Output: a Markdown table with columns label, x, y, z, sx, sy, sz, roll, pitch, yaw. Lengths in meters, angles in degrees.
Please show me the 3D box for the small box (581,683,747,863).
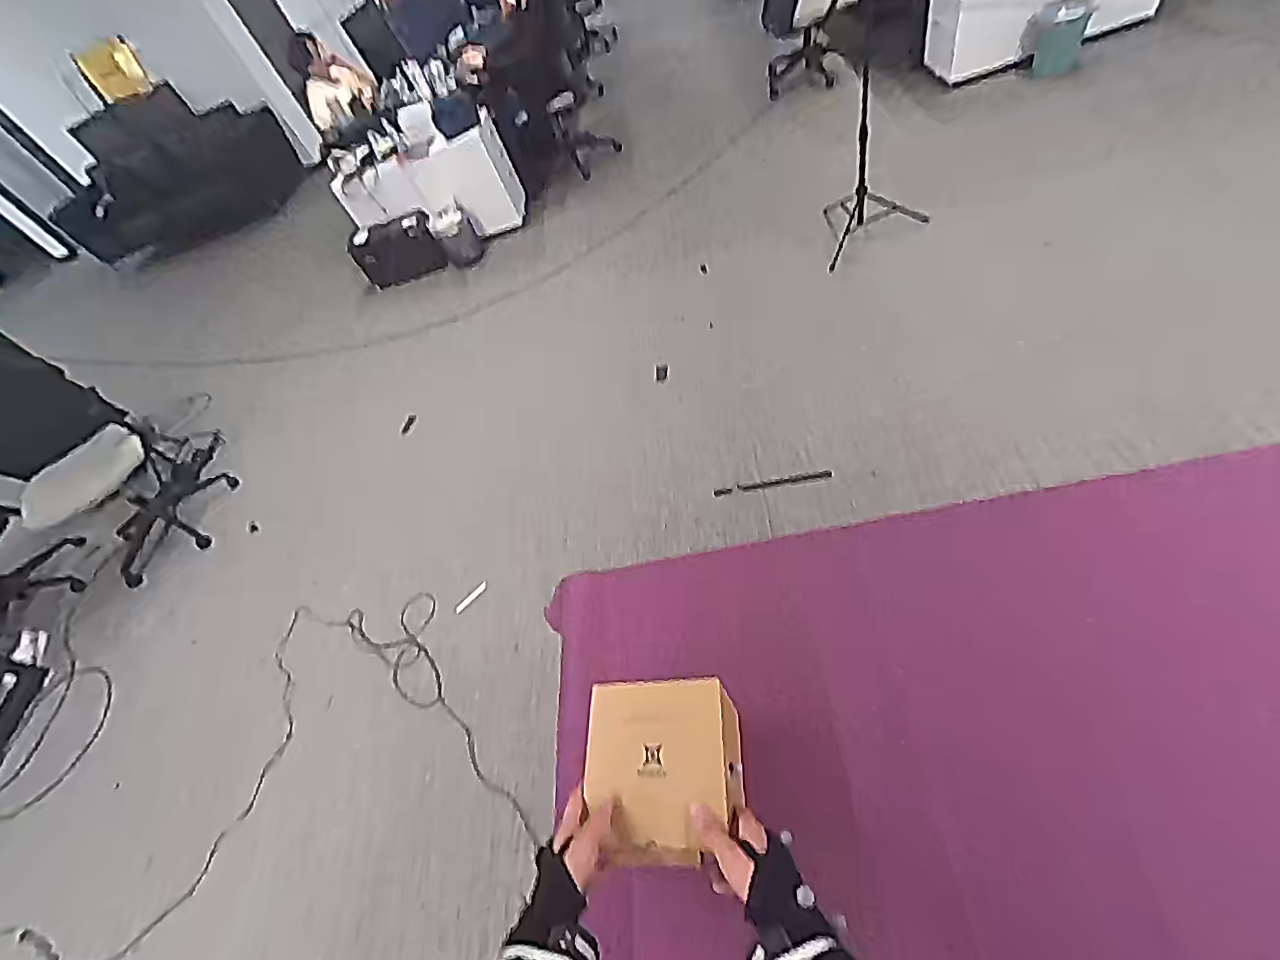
| label | x | y | z | sx | sy | sz | roll | pitch | yaw |
| --- | --- | --- | --- | --- | --- | --- | --- | --- | --- |
| small box | 0.039 | 0.371 | 0.681 | 0.168 | 0.176 | 0.179 | -8 | 51 | 14 |
